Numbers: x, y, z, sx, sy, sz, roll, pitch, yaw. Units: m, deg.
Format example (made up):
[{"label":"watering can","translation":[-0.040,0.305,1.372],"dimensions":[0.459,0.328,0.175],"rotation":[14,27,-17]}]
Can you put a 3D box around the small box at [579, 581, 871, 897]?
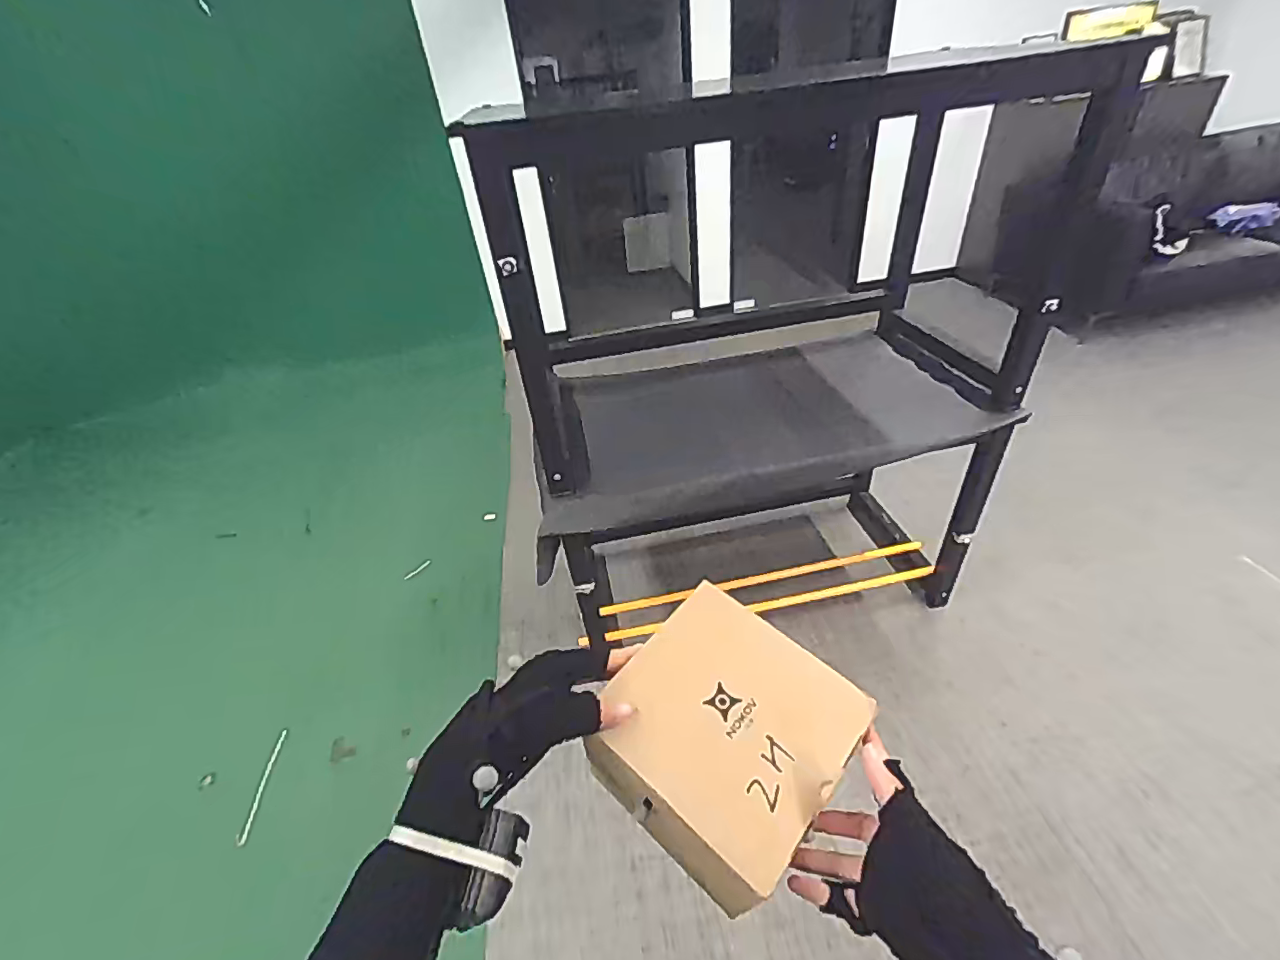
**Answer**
[{"label":"small box","translation":[0.066,0.233,0.486],"dimensions":[0.179,0.176,0.168],"rotation":[34,57,26]}]
